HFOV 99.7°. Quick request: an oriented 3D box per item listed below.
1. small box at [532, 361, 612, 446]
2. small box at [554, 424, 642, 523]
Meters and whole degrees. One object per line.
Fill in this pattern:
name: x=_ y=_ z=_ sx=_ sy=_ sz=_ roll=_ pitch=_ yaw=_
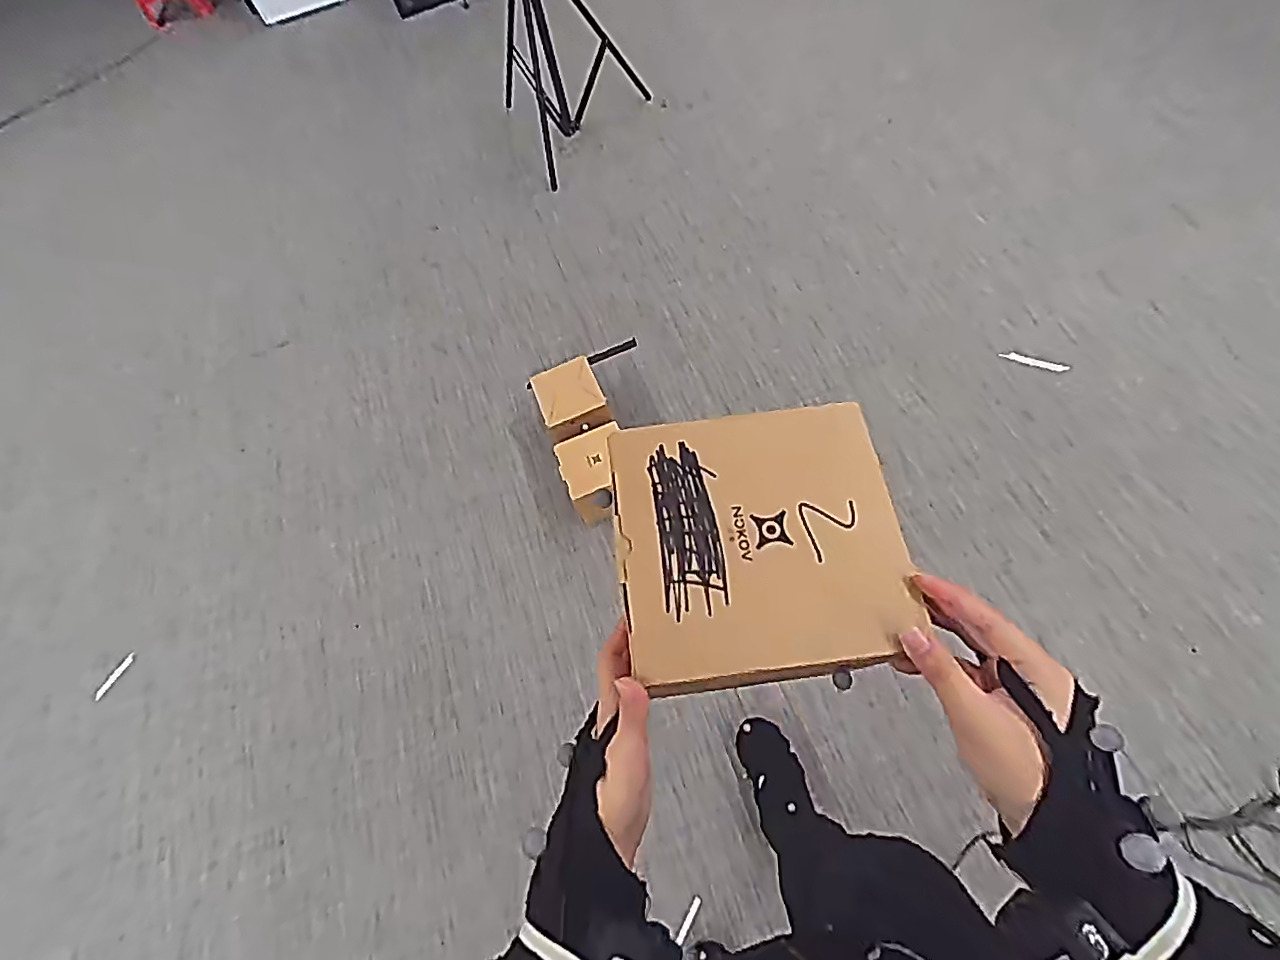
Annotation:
small box: x=-0.184 y=-0.199 z=1.502 sx=0.168 sy=0.176 sz=0.179 roll=-24 pitch=64 yaw=-2
small box: x=-0.102 y=-0.012 z=1.409 sx=0.179 sy=0.176 sz=0.168 roll=-22 pitch=64 yaw=-1
